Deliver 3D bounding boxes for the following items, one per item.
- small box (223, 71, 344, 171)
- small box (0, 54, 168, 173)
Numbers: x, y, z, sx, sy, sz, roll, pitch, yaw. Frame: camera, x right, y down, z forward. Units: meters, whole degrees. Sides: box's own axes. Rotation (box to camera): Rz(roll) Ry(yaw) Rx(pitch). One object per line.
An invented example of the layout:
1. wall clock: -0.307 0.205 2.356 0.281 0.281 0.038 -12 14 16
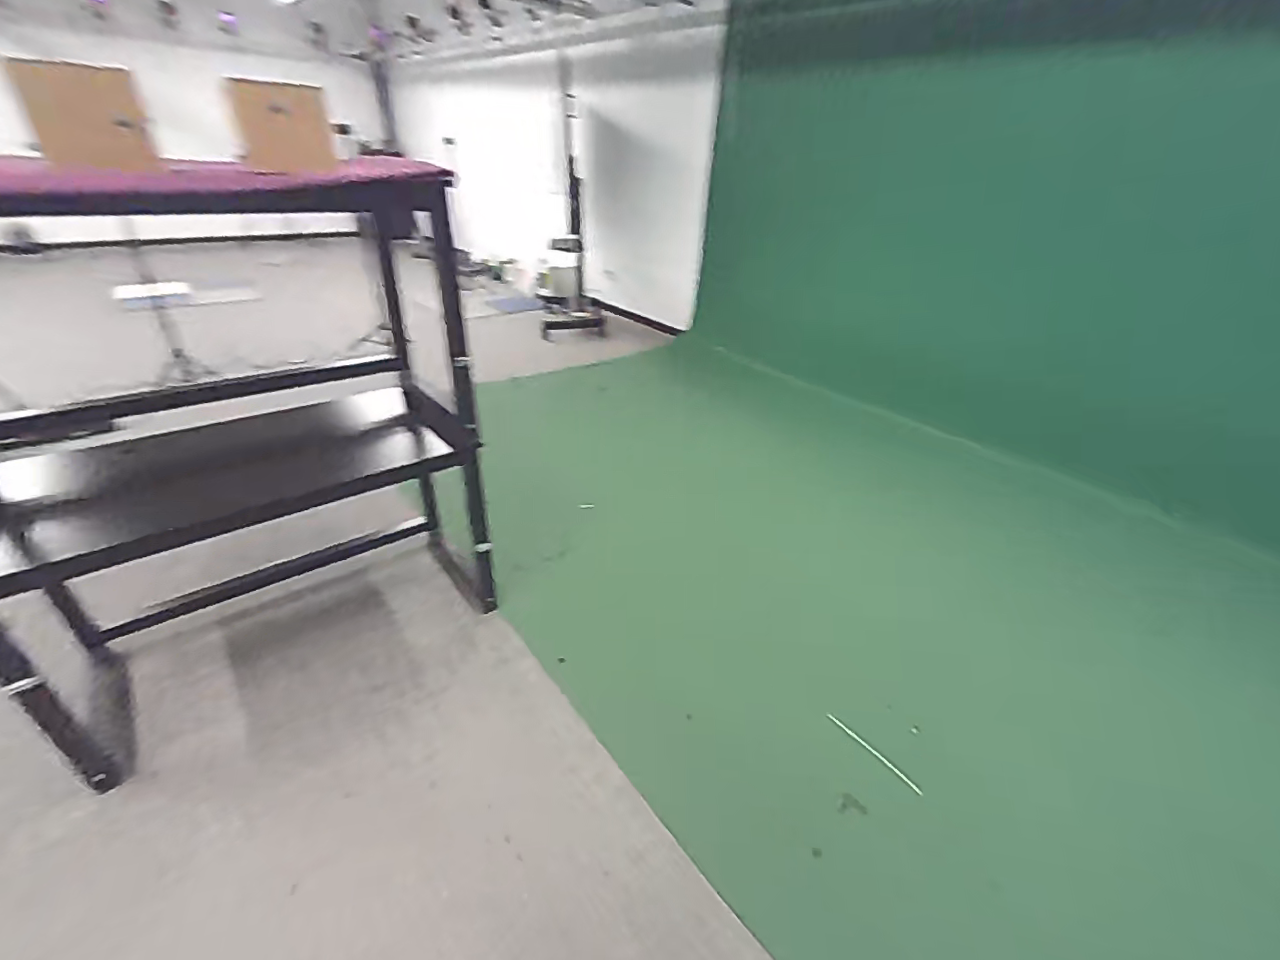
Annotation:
1. small box: -0.794 -0.794 1.210 0.179 0.176 0.168 -20 37 -33
2. small box: -1.026 -0.681 1.014 0.179 0.176 0.168 -24 40 -35
